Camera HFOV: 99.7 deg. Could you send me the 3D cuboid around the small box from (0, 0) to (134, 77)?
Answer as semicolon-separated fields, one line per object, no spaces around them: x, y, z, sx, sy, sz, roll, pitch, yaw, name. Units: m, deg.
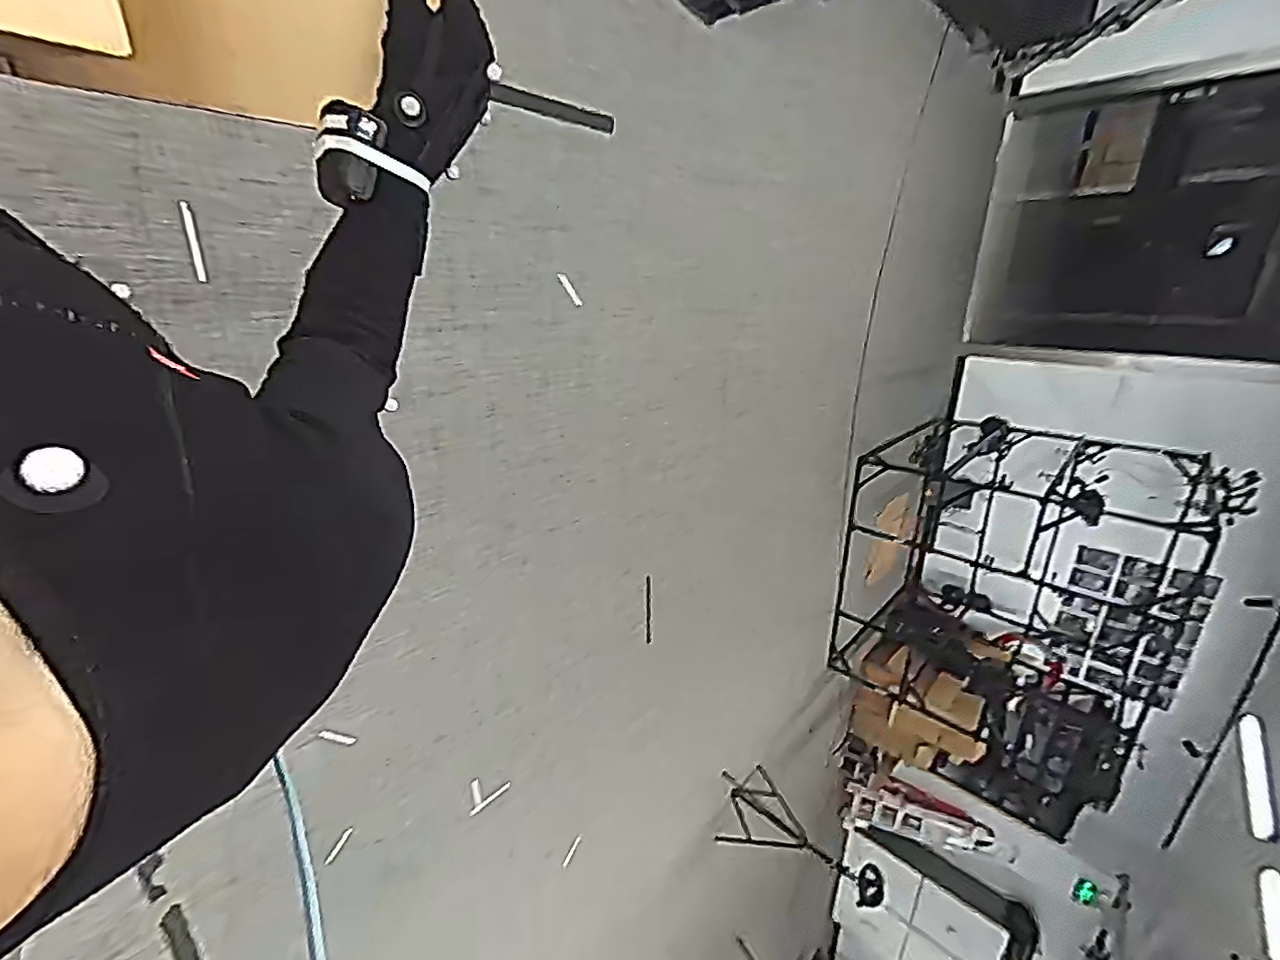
-0.403;-0.311;0.248;0.179;0.176;0.168;-37;142;-54;small box
